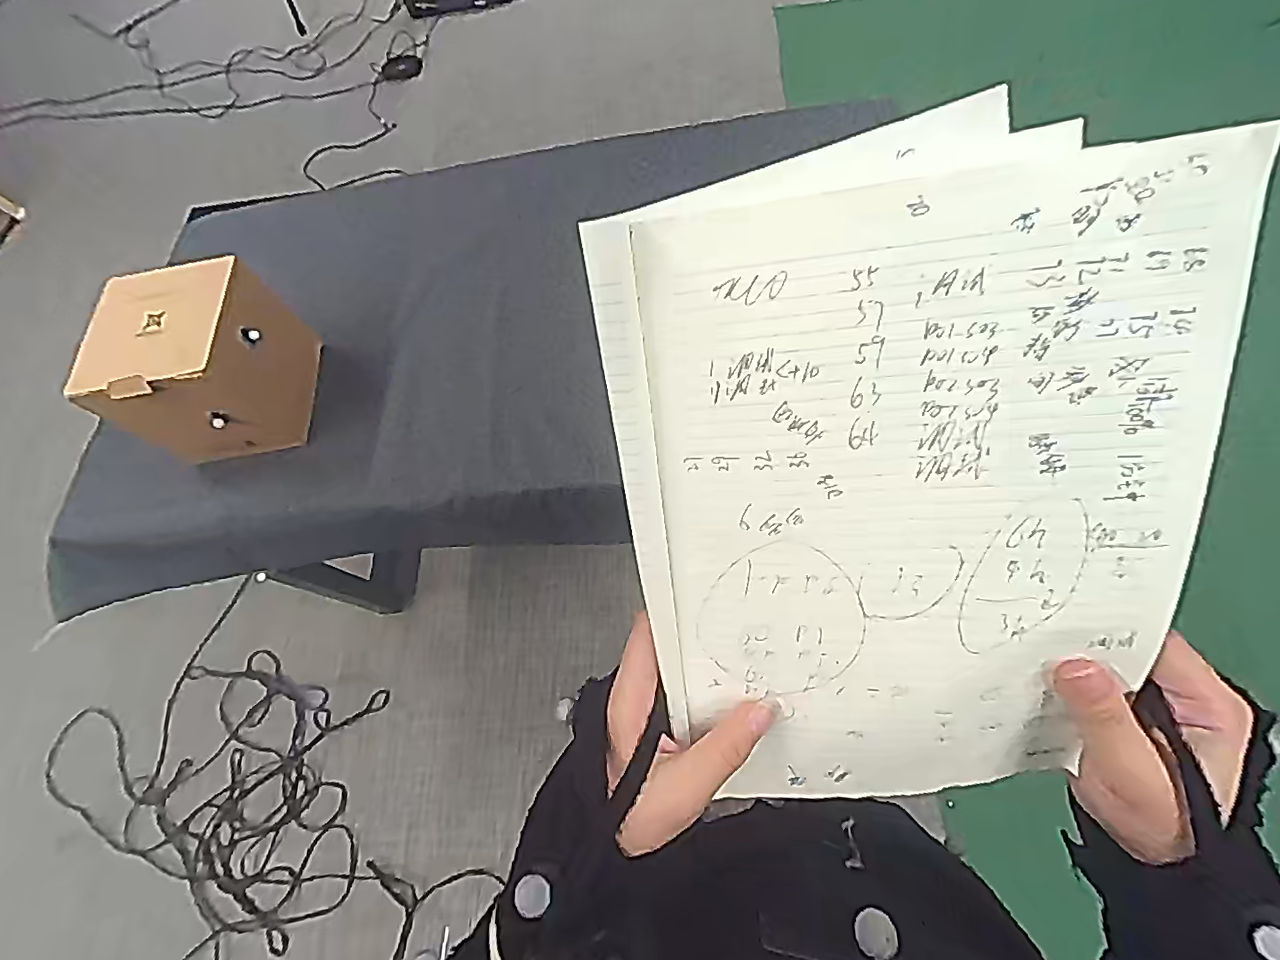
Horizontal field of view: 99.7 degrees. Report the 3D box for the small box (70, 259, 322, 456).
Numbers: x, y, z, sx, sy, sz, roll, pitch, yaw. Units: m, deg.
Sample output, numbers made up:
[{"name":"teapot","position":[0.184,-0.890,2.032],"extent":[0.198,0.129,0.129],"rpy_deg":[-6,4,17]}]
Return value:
[{"name":"small box","position":[-0.541,-0.143,0.691],"extent":[0.168,0.176,0.179],"rpy_deg":[-9,63,3]}]
